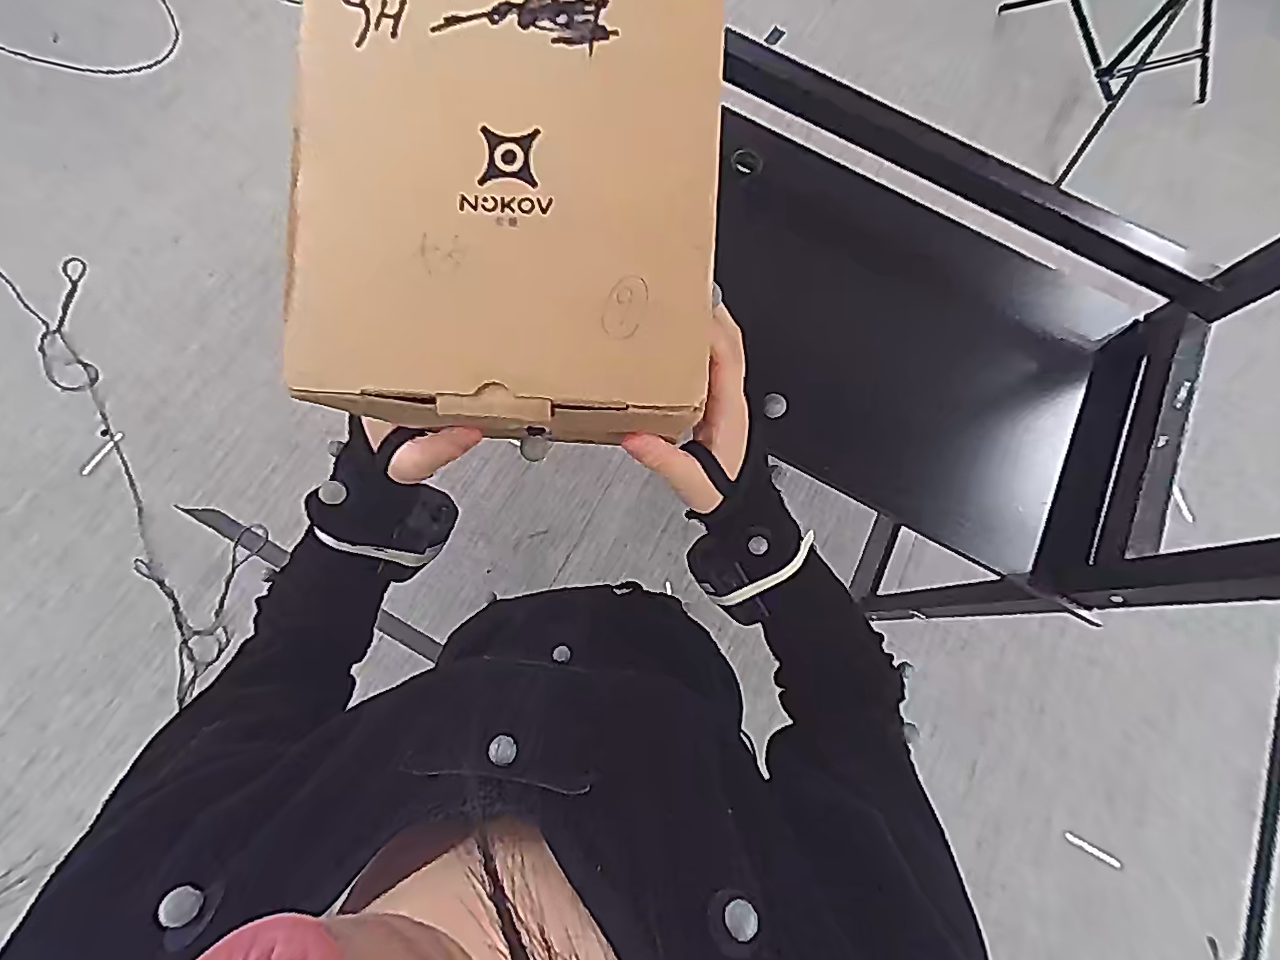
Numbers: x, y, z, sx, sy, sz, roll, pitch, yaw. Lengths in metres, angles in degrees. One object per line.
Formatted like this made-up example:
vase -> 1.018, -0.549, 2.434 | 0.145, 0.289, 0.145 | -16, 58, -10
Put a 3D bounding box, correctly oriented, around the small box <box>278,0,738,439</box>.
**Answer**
small box -> -0.050, -0.114, 0.280 | 0.168, 0.176, 0.179 | 3, 90, -2
